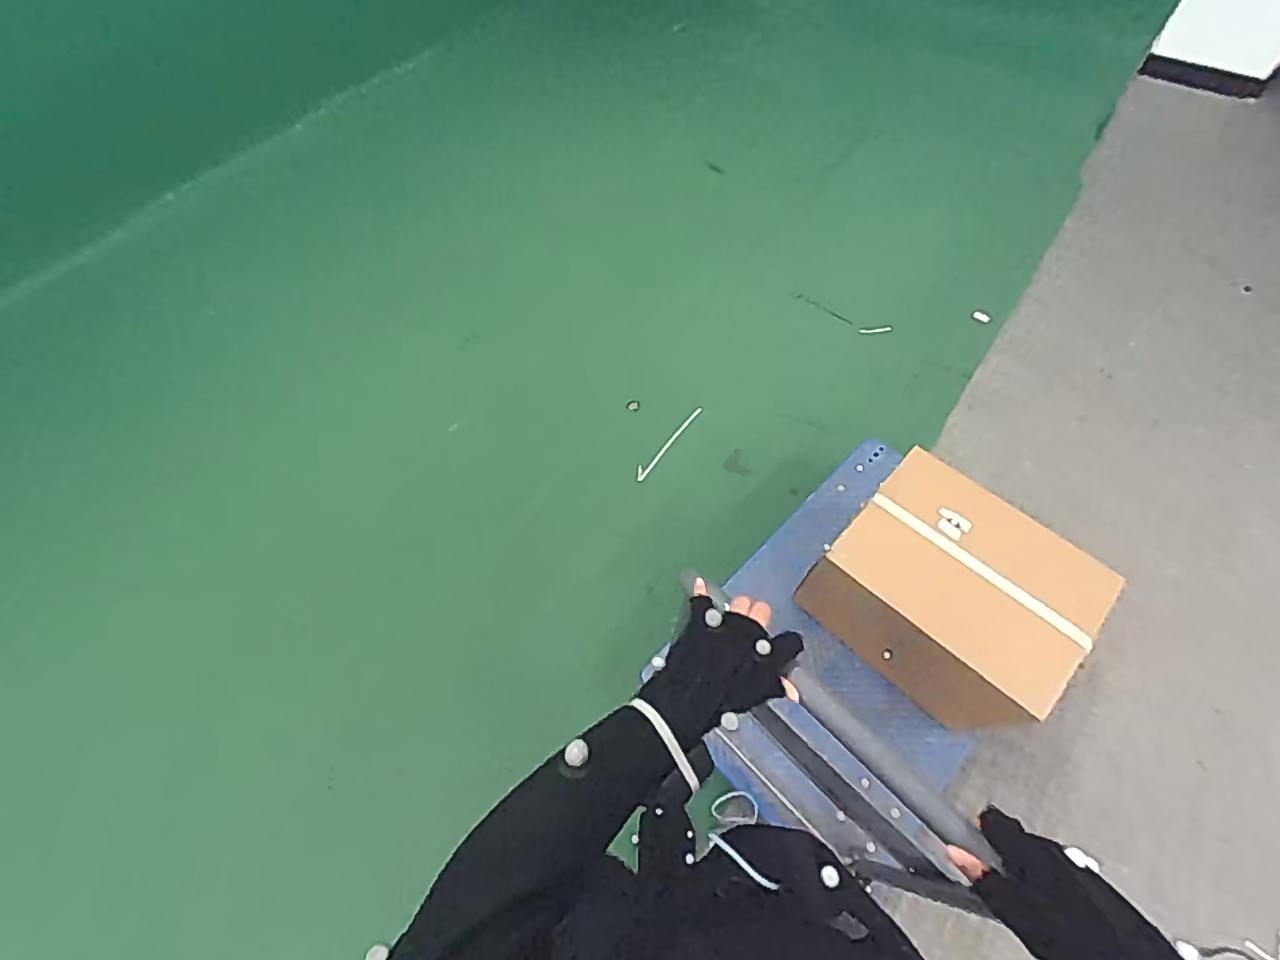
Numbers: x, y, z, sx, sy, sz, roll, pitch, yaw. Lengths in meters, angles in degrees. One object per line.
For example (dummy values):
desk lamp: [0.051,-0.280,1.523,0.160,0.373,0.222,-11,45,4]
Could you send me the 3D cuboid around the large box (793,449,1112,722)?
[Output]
large box: [0.587,0.219,1.095,0.408,0.320,0.320,40,70,21]
